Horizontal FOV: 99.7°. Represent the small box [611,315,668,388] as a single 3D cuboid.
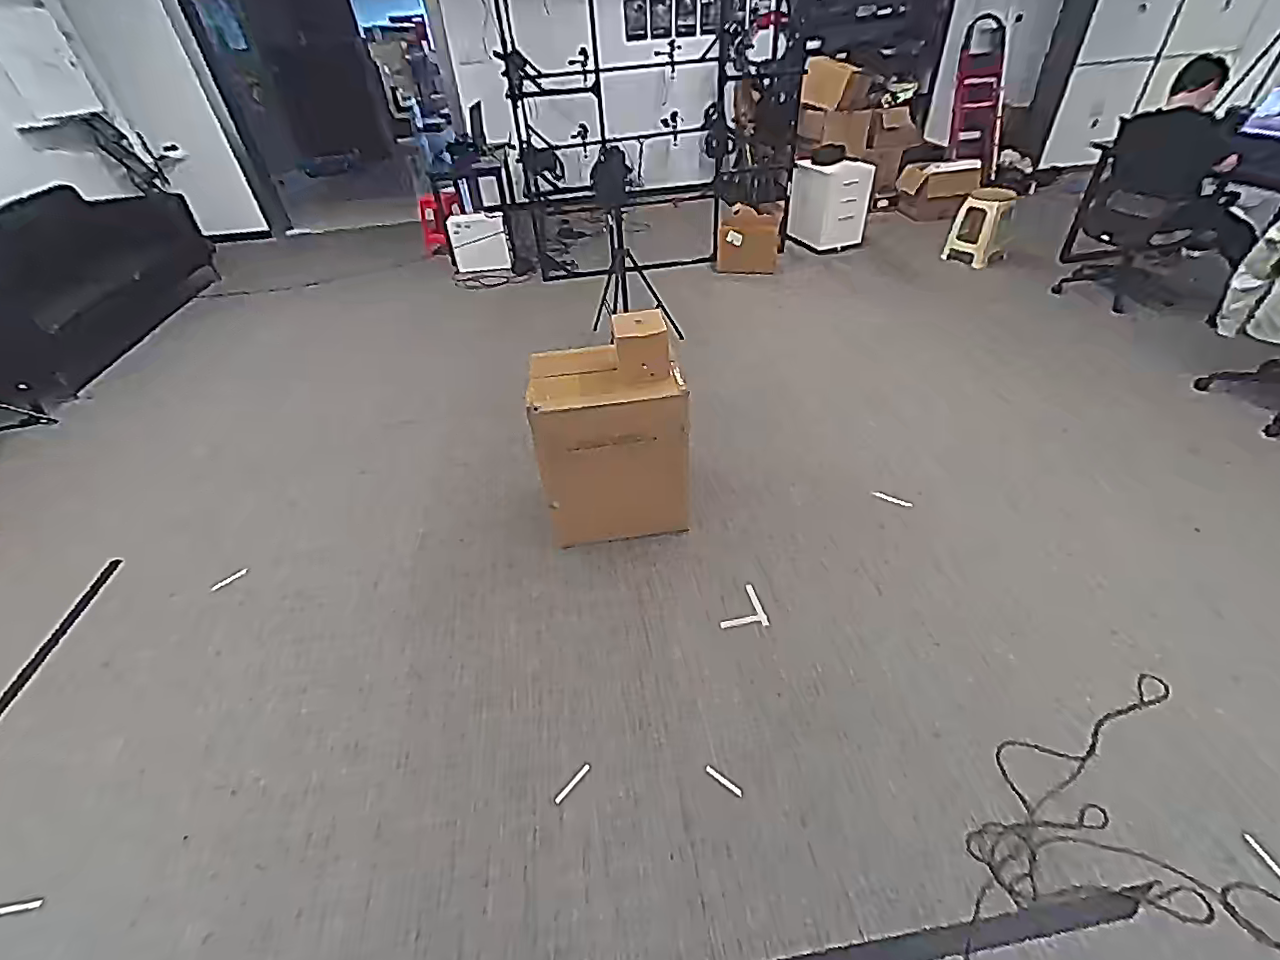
[{"bbox_3d":[-0.002,-0.429,1.807,0.168,0.176,0.179,-9,41,-3],"label":"small box"}]
